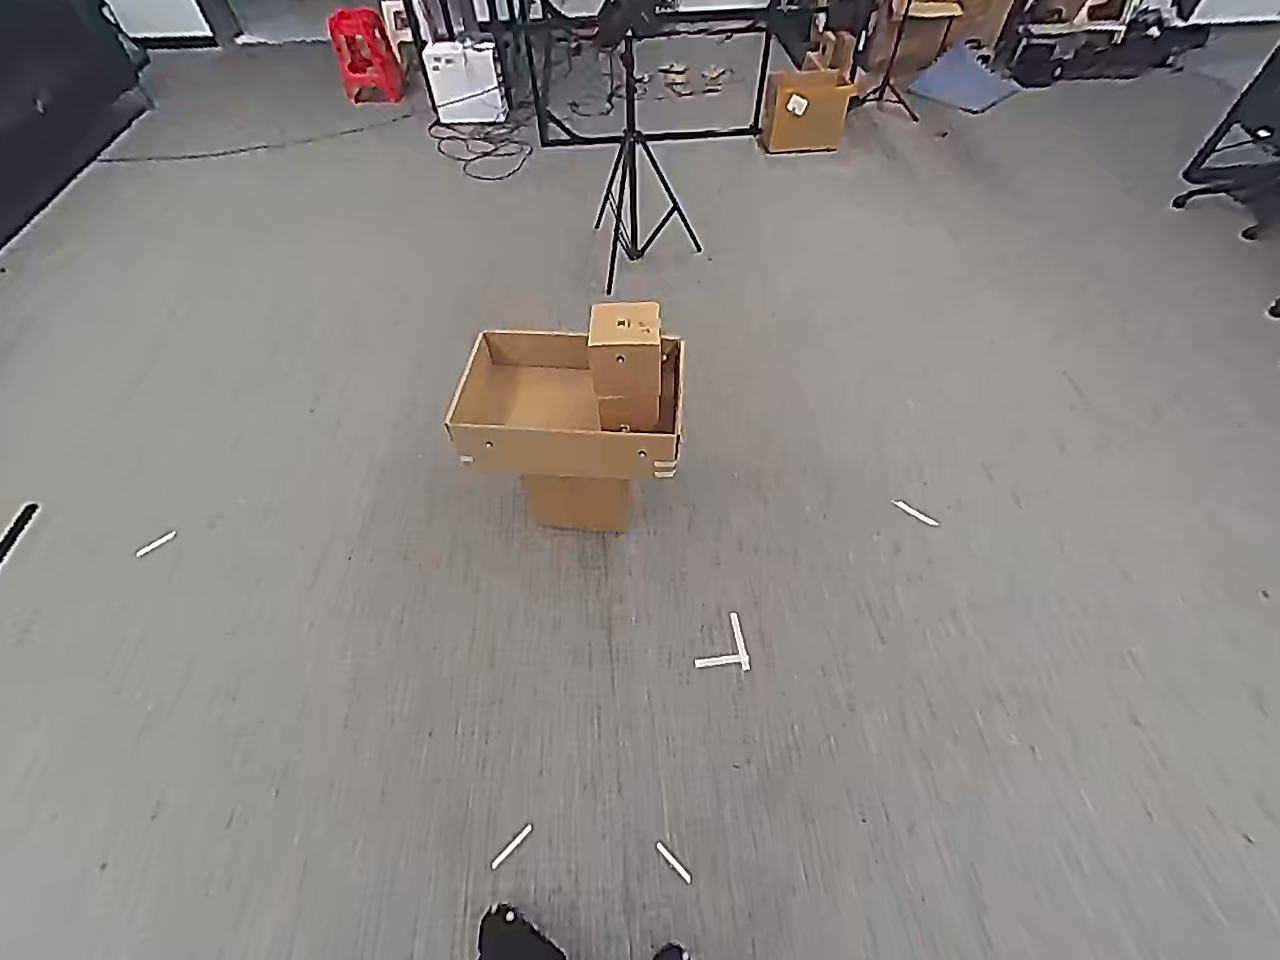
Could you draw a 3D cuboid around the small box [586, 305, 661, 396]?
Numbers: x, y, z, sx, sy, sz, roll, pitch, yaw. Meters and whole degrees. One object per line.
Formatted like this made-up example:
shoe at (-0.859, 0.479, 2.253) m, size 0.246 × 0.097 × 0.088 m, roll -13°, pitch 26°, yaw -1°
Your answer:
small box at (-0.035, -0.329, 1.389) m, size 0.179 × 0.176 × 0.168 m, roll 0°, pitch 53°, yaw 2°
